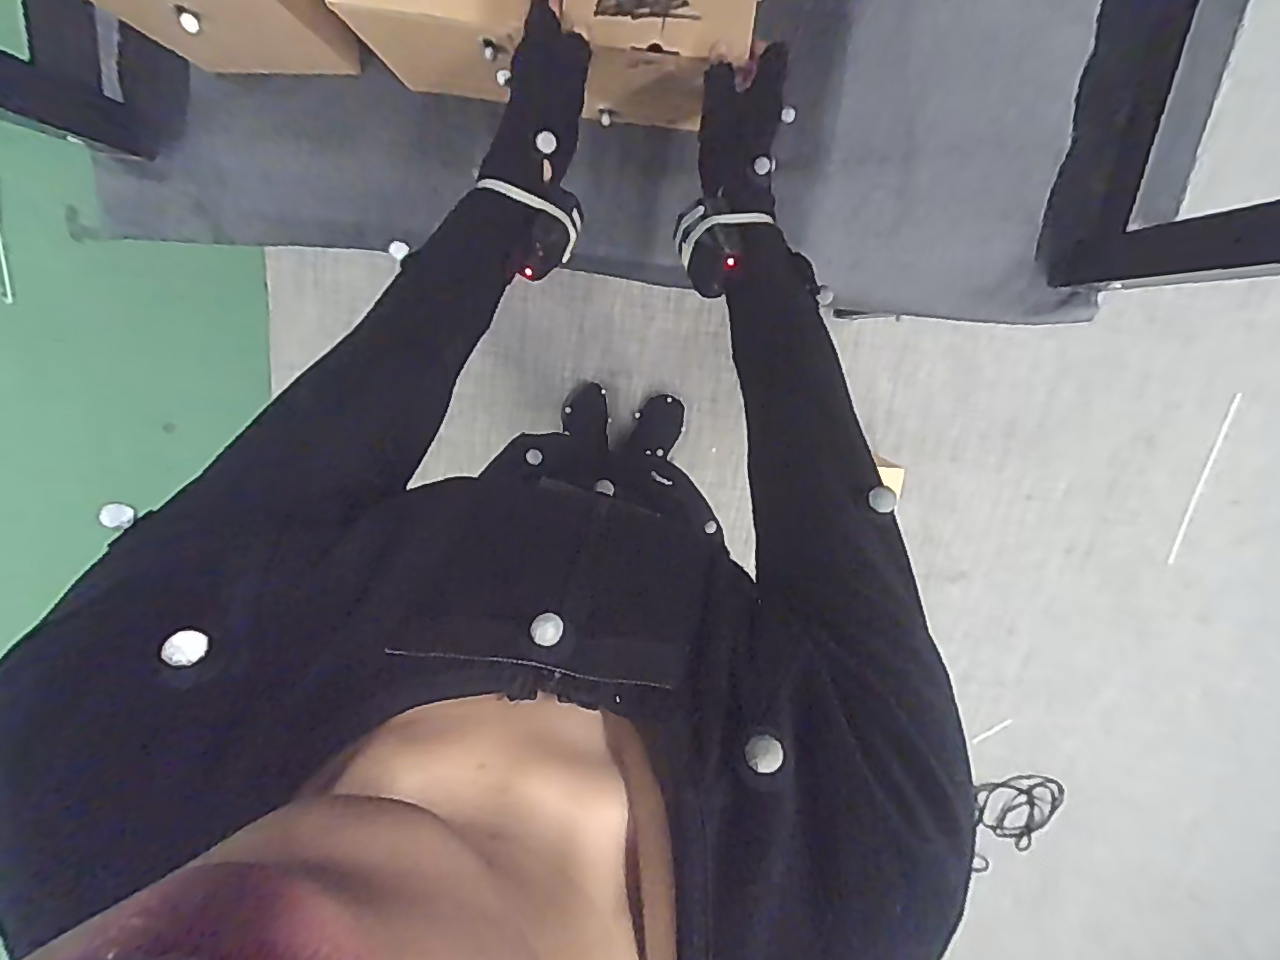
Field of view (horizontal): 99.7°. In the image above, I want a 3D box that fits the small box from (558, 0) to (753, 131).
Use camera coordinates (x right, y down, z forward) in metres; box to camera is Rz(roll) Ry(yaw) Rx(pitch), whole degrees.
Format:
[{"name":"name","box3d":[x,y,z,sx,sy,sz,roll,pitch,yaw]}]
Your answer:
[{"name":"small box","box3d":[0.021,-0.466,0.520,0.168,0.176,0.179,6,104,-1]}]
